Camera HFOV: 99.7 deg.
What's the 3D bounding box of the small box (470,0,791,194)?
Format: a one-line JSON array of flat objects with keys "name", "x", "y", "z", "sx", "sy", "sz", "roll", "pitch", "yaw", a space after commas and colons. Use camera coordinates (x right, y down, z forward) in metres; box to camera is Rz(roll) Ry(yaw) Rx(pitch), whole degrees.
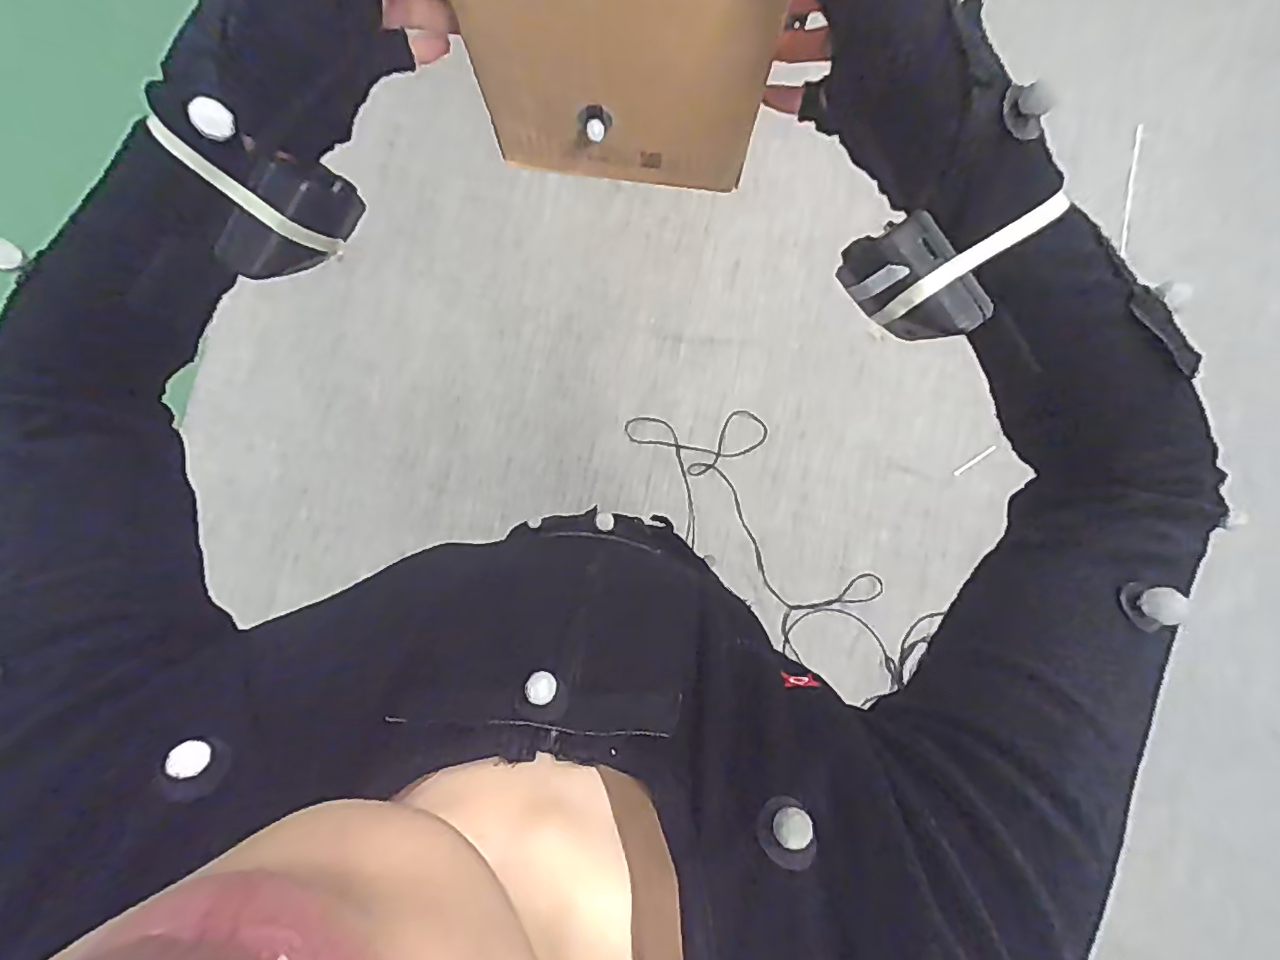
[{"name": "small box", "x": -0.002, "y": -0.307, "z": 0.316, "sx": 0.168, "sy": 0.176, "sz": 0.179, "roll": 7, "pitch": 84, "yaw": 0}]
